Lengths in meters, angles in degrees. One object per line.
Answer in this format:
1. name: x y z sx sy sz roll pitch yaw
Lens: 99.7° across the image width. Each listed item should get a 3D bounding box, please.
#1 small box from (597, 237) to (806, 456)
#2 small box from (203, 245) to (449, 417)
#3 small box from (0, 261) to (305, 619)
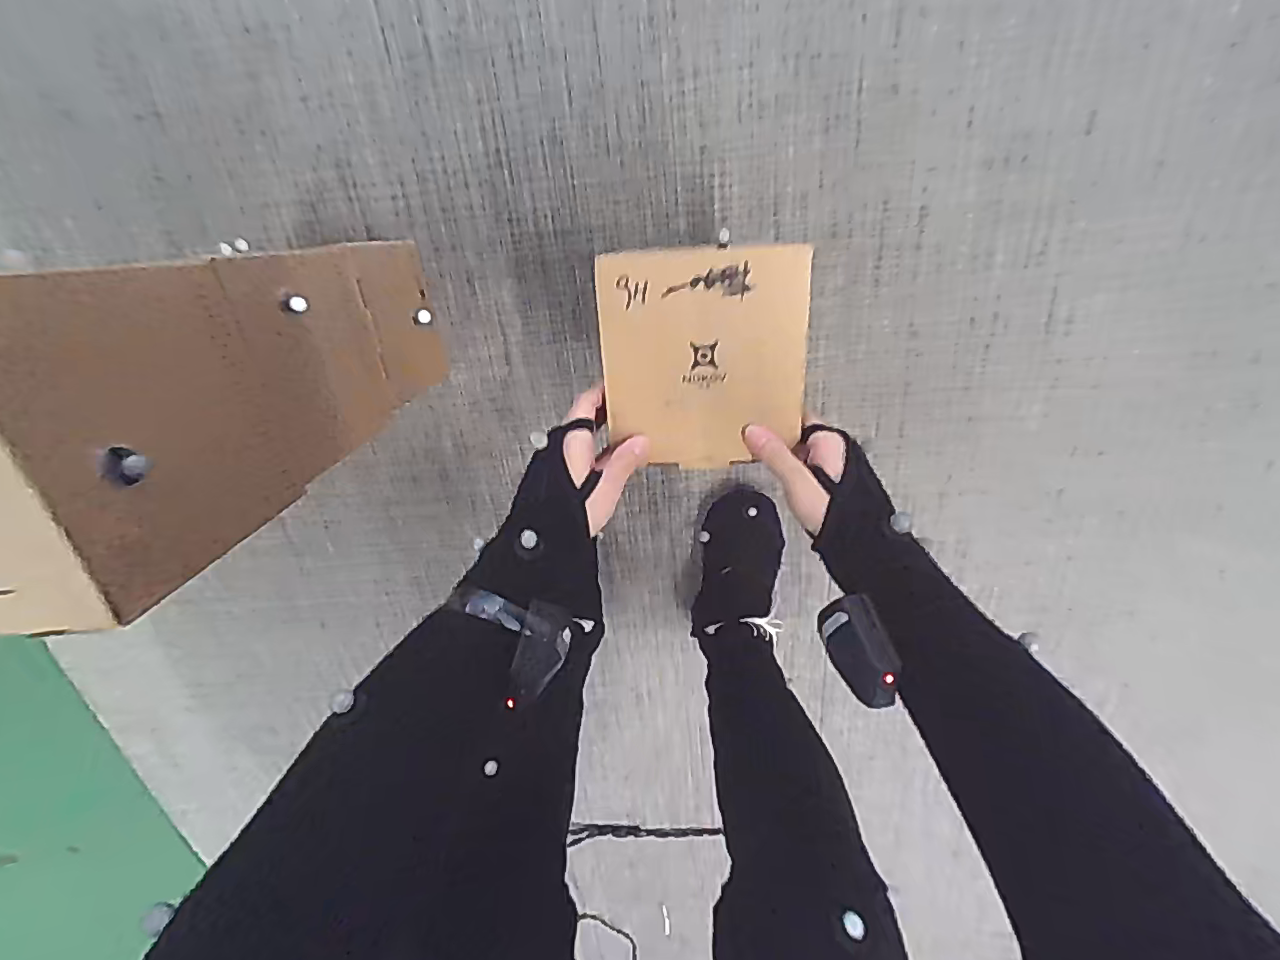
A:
1. small box: 0.055 -0.136 0.528 0.168 0.176 0.179 -2 115 3
2. small box: -0.352 -0.179 0.635 0.179 0.176 0.168 -5 114 3
3. small box: -0.357 -0.033 0.341 0.168 0.176 0.179 -6 113 4
